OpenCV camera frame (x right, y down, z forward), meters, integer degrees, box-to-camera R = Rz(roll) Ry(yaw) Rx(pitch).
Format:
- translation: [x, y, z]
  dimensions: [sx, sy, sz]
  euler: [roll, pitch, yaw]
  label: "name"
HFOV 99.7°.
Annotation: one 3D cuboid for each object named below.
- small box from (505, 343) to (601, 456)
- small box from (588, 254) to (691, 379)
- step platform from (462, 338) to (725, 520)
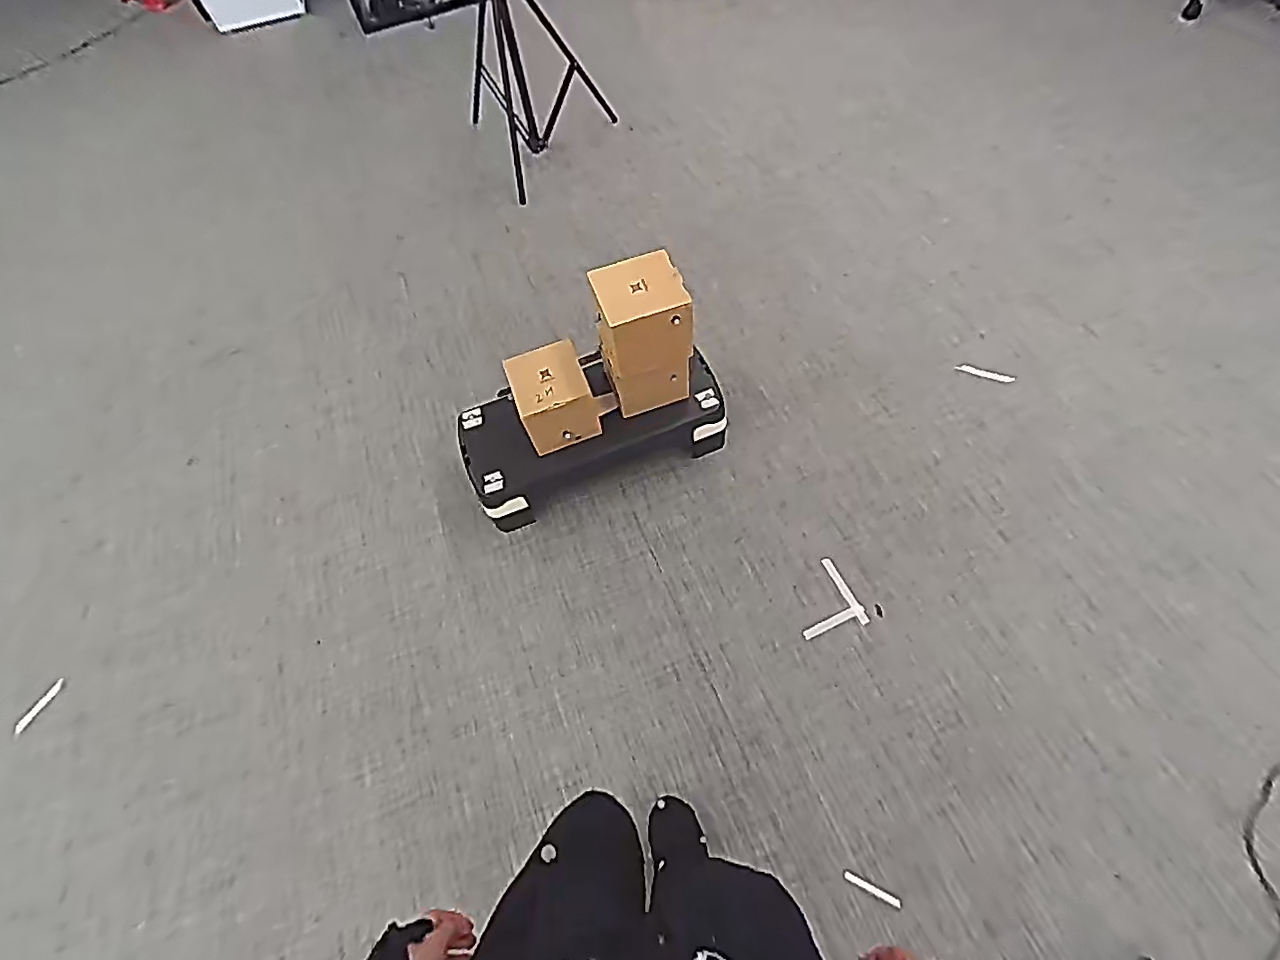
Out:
- translation: [-0.203, -0.187, 1.284]
  dimensions: [0.168, 0.176, 0.179]
  euler: [-21, 63, -5]
  label: "small box"
- translation: [0.003, -0.345, 1.163]
  dimensions: [0.179, 0.176, 0.168]
  euler: [-19, 63, -6]
  label: "small box"
- translation: [-0.119, -0.154, 1.455]
  dimensions: [0.684, 0.204, 0.286]
  euler: [-22, 63, -6]
  label: "step platform"
